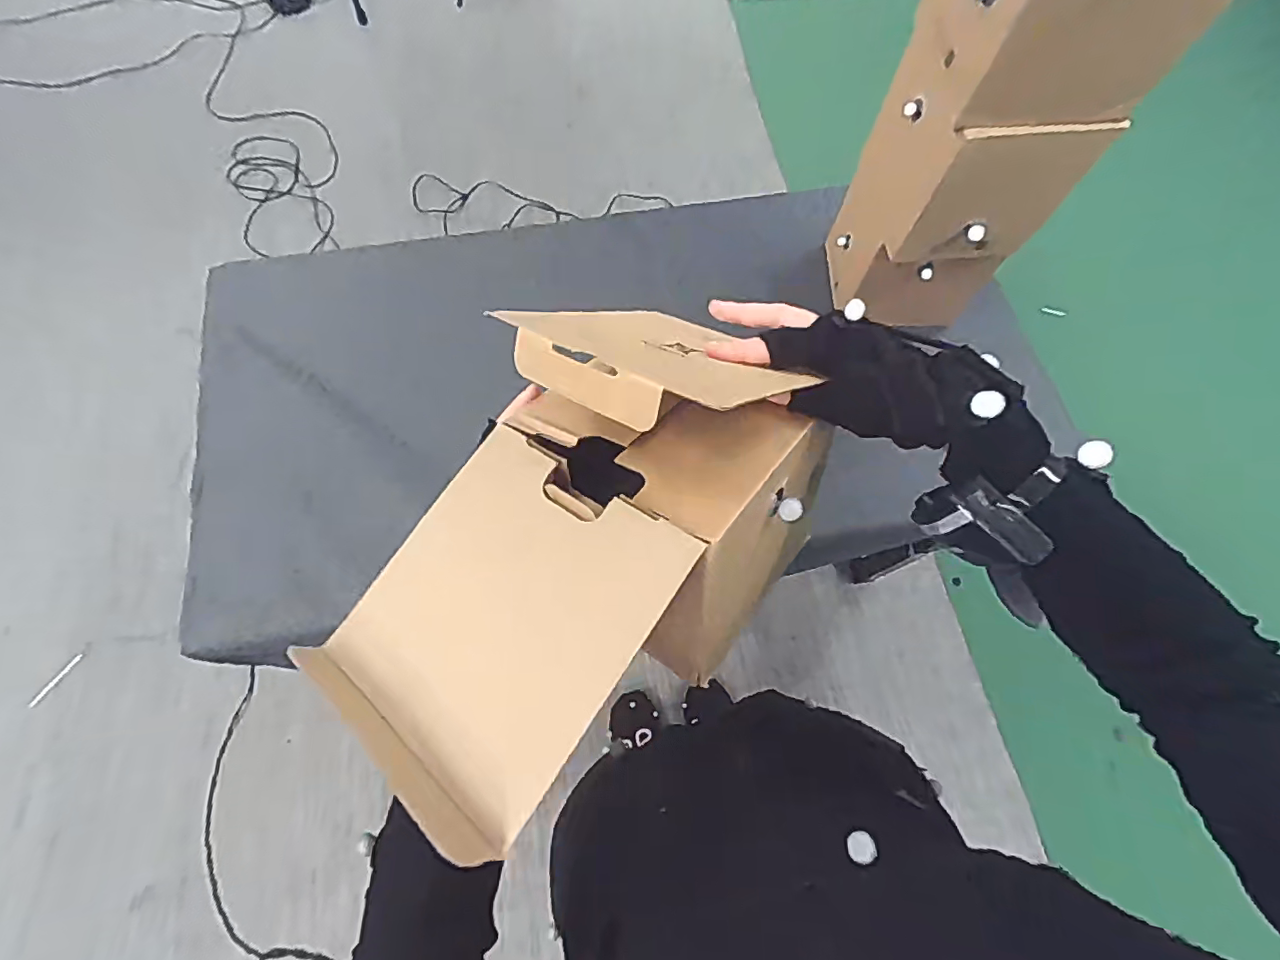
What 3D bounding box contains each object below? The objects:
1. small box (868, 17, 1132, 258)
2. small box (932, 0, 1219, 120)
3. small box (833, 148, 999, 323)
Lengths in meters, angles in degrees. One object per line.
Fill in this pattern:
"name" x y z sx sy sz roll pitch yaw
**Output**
"small box" 0.385 -0.385 0.620 0.168 0.176 0.179 -4 70 -1
"small box" 0.381 -0.445 0.469 0.179 0.176 0.168 -2 70 -1
"small box" 0.390 -0.345 0.780 0.179 0.176 0.168 2 70 0
